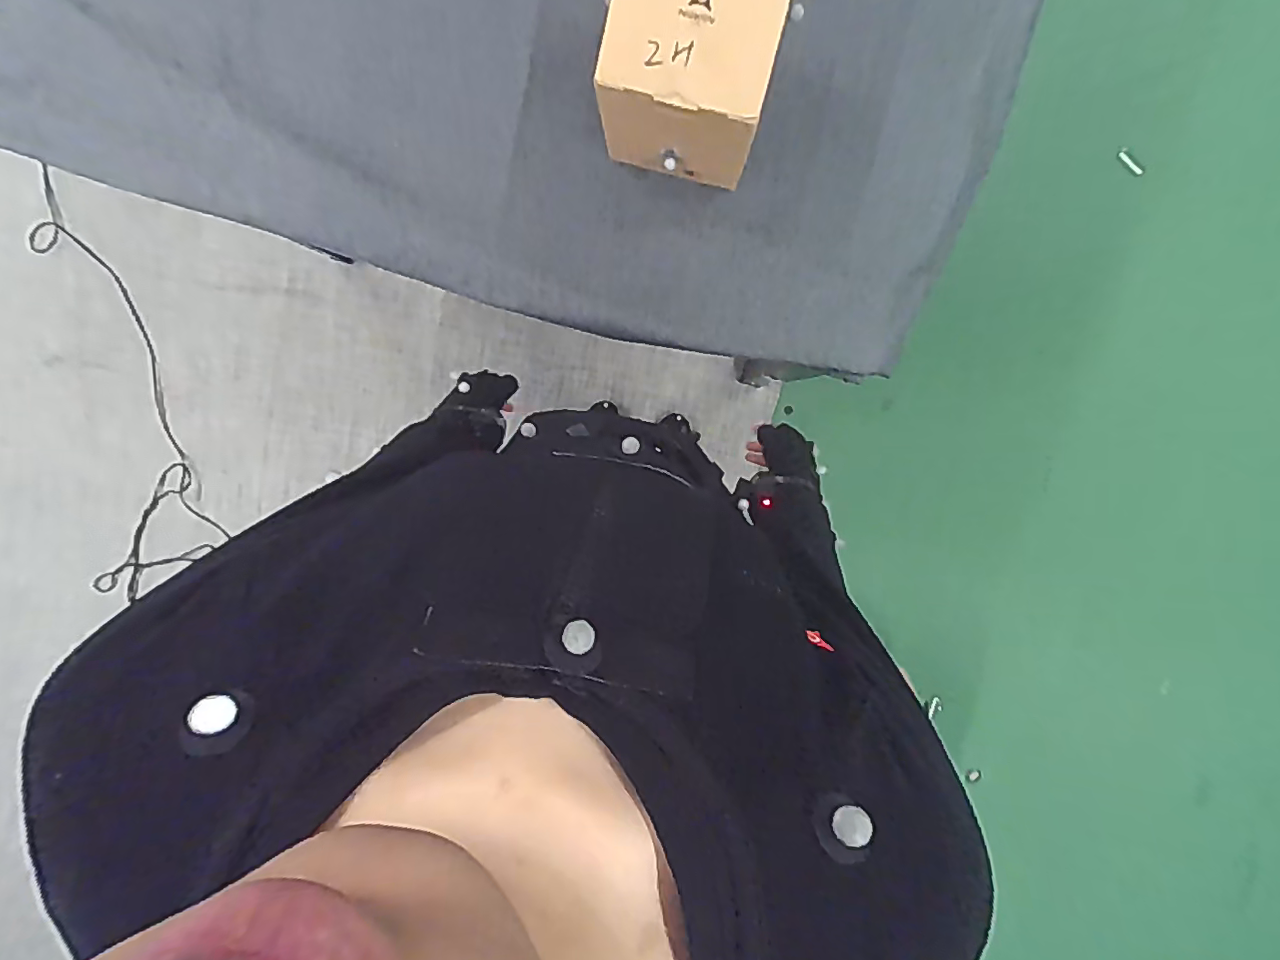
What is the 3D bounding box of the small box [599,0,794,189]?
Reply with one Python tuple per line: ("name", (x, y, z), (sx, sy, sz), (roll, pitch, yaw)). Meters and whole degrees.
("small box", (0.062, -0.457, 0.590), (0.168, 0.176, 0.179), (15, 97, 0))
